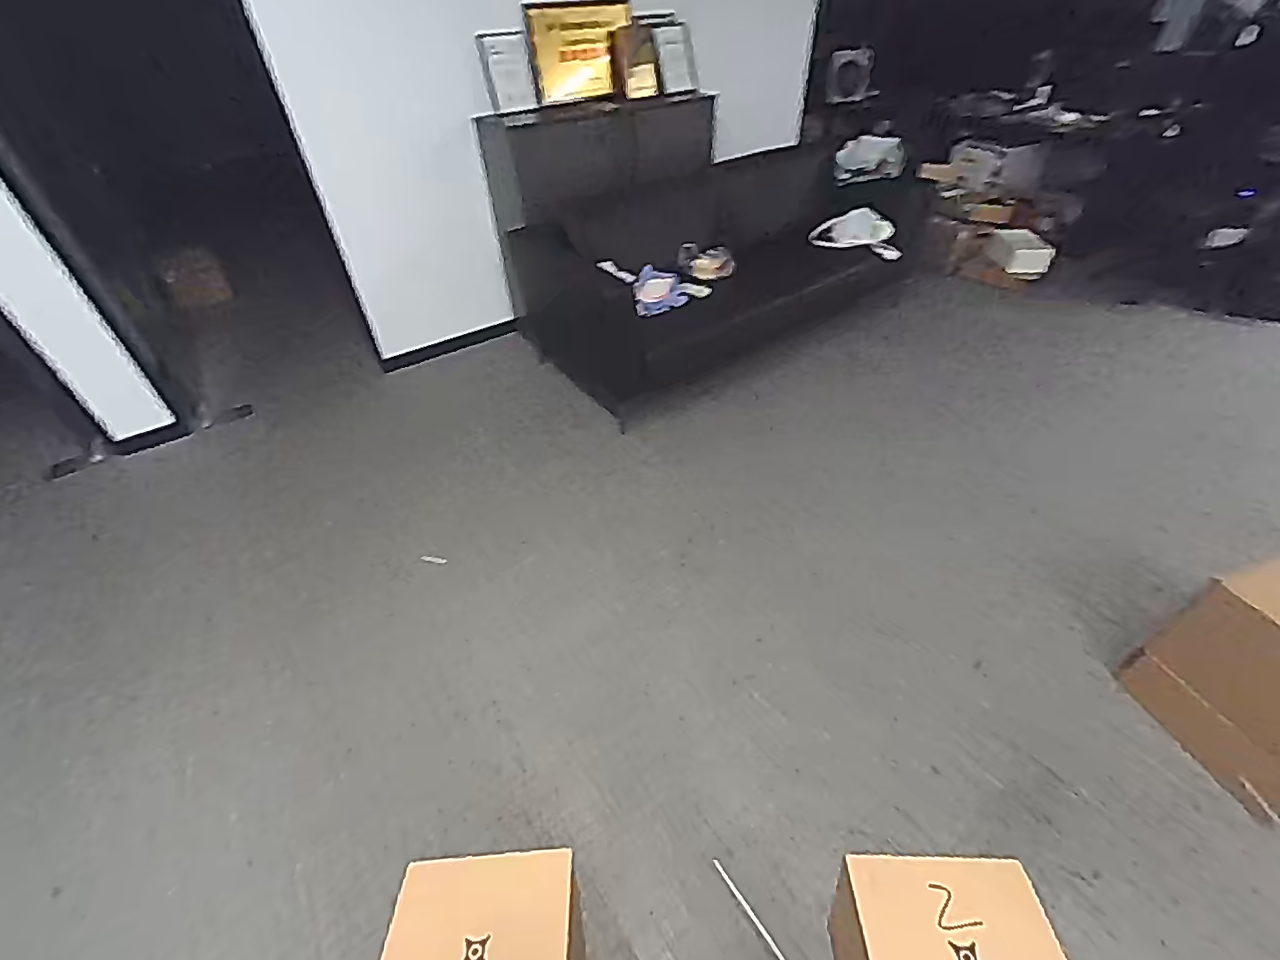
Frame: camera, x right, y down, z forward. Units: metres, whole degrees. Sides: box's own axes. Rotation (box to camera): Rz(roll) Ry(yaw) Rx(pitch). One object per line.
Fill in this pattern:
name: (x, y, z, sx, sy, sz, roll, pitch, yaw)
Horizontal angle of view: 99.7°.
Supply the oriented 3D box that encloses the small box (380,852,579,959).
small box: (-0.146, 0.496, 0.508, 0.168, 0.176, 0.179, -4, 26, -4)
